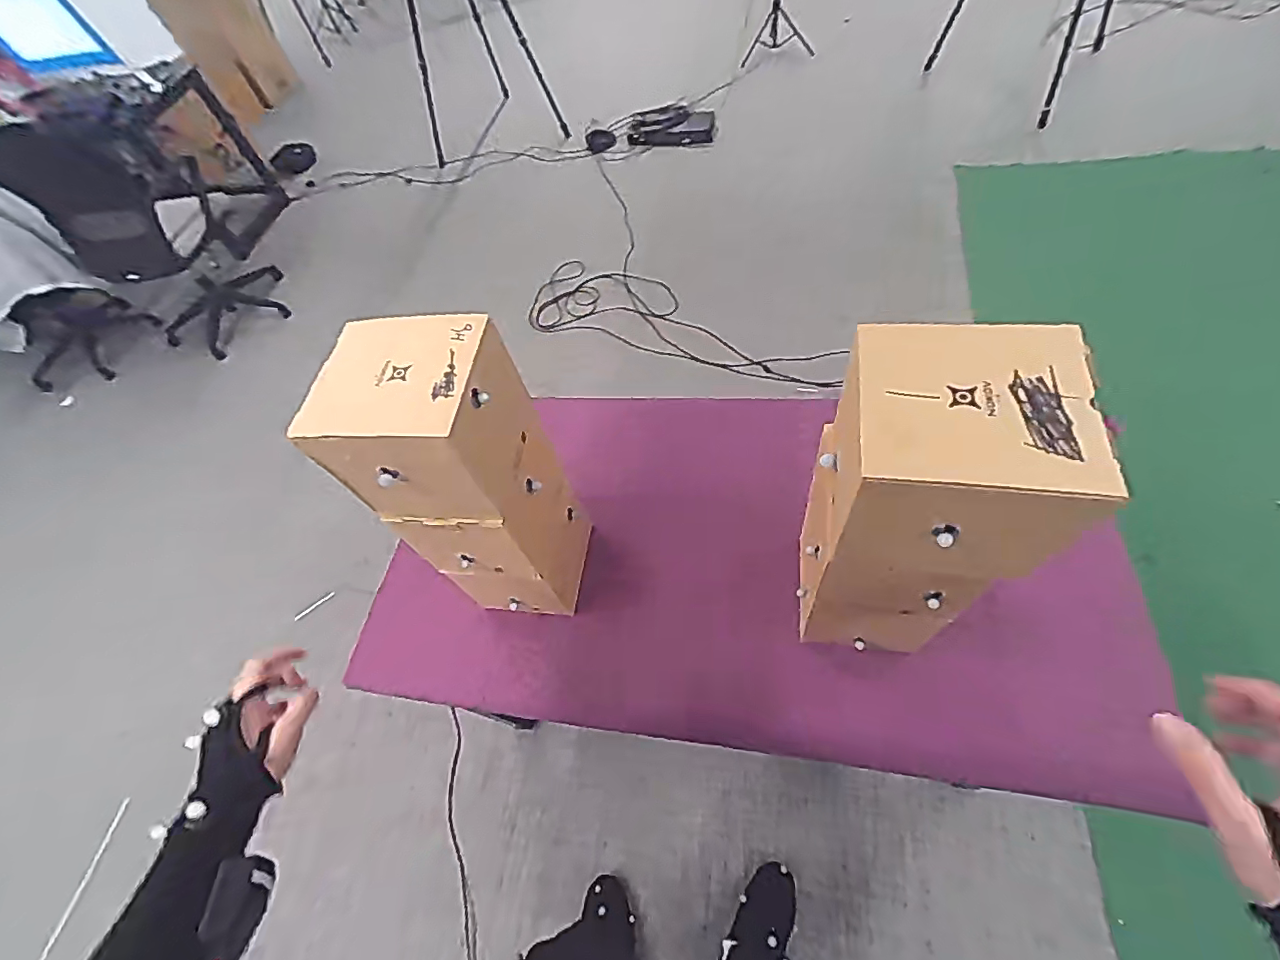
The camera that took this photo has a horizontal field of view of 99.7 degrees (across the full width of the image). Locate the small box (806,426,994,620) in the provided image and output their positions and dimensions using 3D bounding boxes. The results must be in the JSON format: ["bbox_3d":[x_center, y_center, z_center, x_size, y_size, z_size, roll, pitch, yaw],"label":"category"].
[{"bbox_3d":[0.290,0.055,0.641,0.168,0.176,0.179,2,59,13],"label":"small box"}]

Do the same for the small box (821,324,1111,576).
[{"bbox_3d":[0.270,-0.022,0.497,0.179,0.176,0.168,4,59,14],"label":"small box"}]

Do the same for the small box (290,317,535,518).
[{"bbox_3d":[-0.244,-0.064,0.629,0.179,0.176,0.168,0,58,11],"label":"small box"}]

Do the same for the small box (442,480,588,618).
[{"bbox_3d":[-0.193,0.112,0.899,0.168,0.176,0.179,2,58,13],"label":"small box"}]

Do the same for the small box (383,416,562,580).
[{"bbox_3d":[-0.219,0.024,0.765,0.168,0.176,0.179,1,59,11],"label":"small box"}]
